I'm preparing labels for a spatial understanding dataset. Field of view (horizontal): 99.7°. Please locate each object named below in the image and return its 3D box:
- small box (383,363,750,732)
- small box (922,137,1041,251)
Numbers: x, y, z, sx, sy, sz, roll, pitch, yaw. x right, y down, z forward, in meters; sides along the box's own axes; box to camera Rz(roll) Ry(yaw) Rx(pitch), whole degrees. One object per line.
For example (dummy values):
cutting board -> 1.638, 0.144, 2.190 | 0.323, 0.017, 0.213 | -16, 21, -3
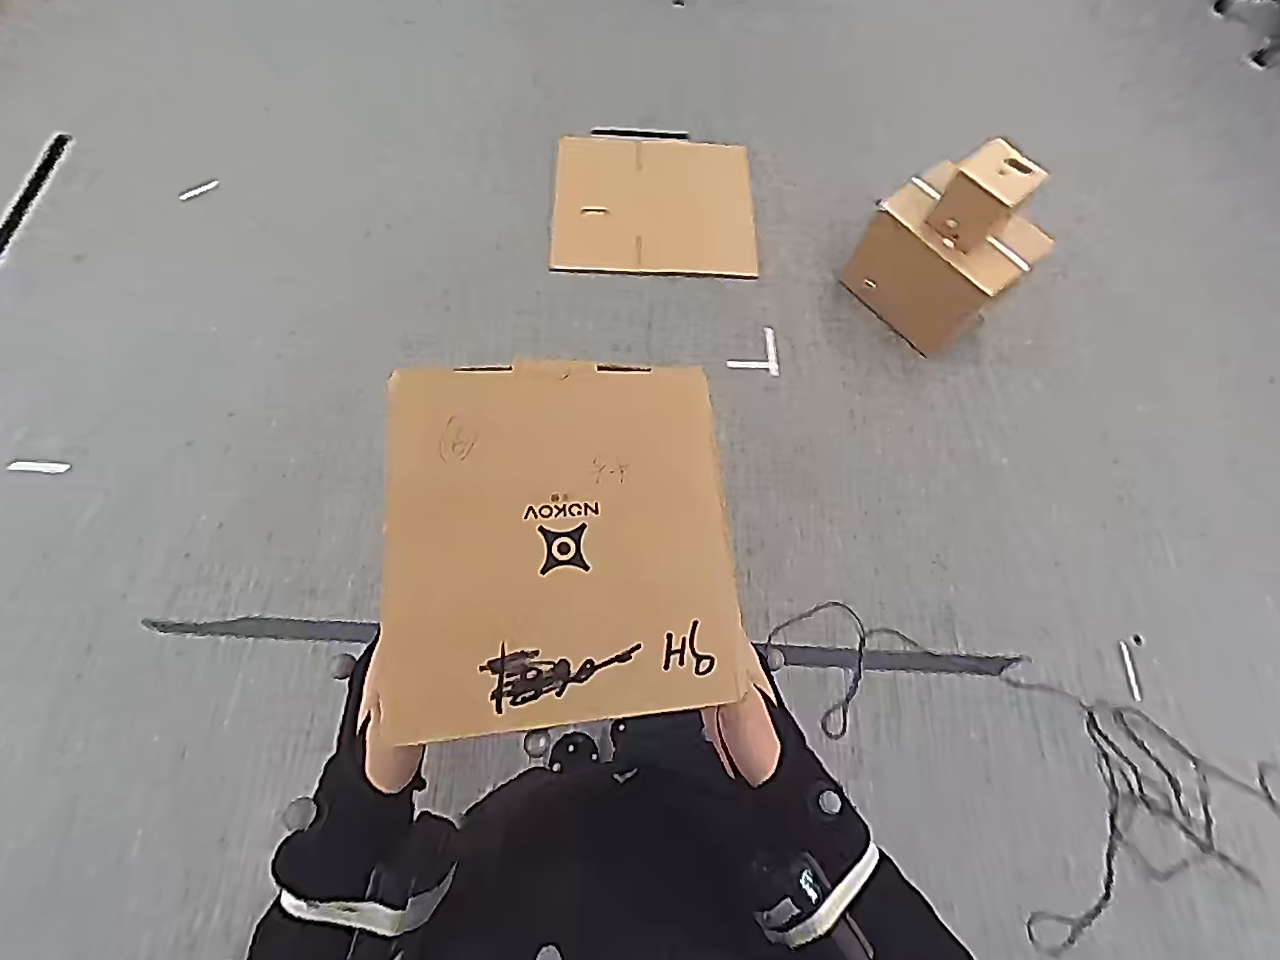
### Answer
small box -> -0.048, 0.044, 0.339 | 0.168, 0.176, 0.179 | -3, 74, -10
small box -> 0.900, -0.759, 1.446 | 0.179, 0.176, 0.168 | -39, 75, -15
